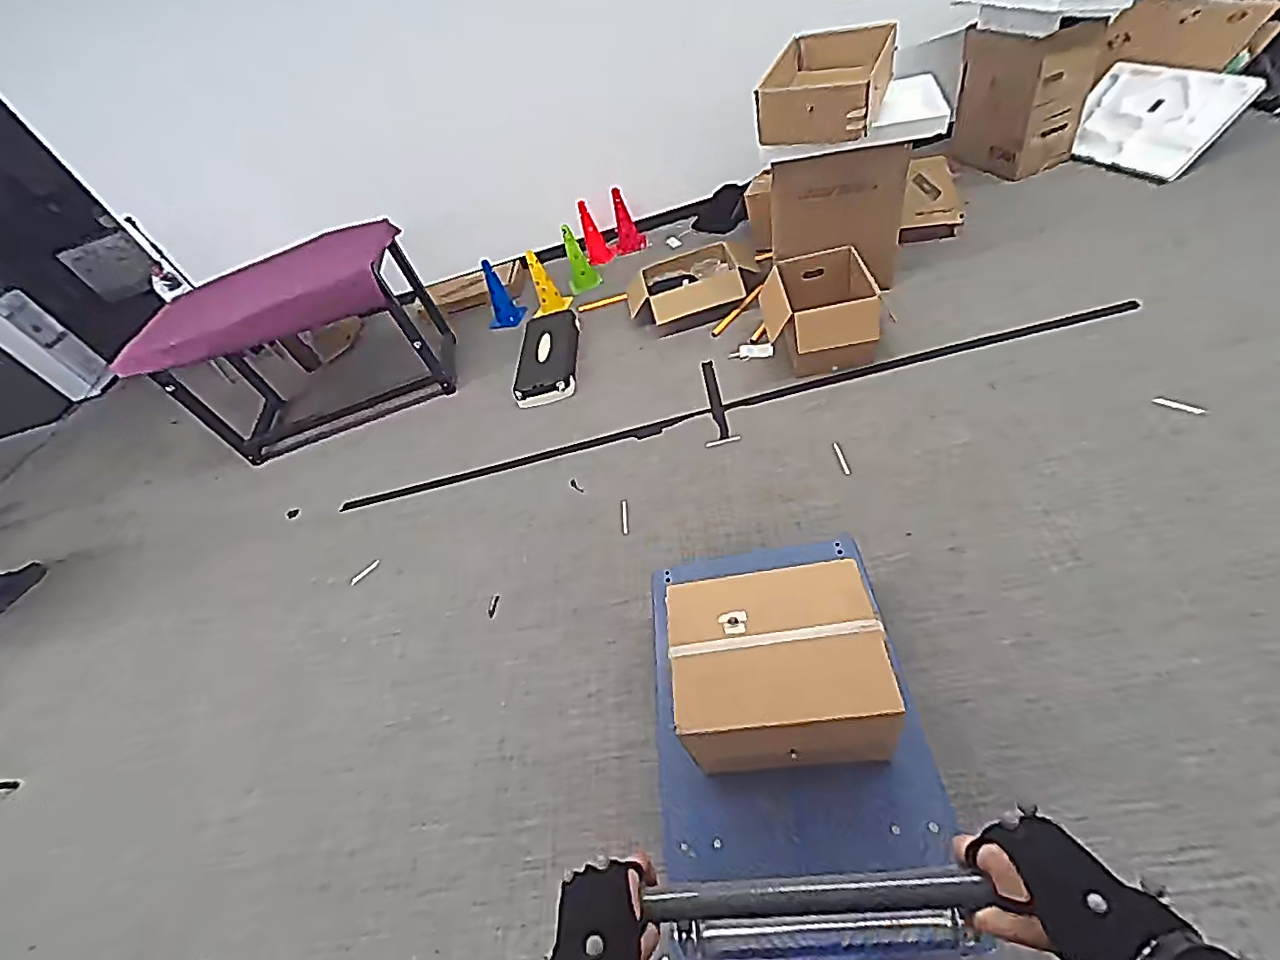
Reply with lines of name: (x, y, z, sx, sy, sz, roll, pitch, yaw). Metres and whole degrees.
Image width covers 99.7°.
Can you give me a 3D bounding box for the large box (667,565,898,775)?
large box: (0.297, 0.425, 1.180, 0.408, 0.320, 0.320, -12, 47, 11)
